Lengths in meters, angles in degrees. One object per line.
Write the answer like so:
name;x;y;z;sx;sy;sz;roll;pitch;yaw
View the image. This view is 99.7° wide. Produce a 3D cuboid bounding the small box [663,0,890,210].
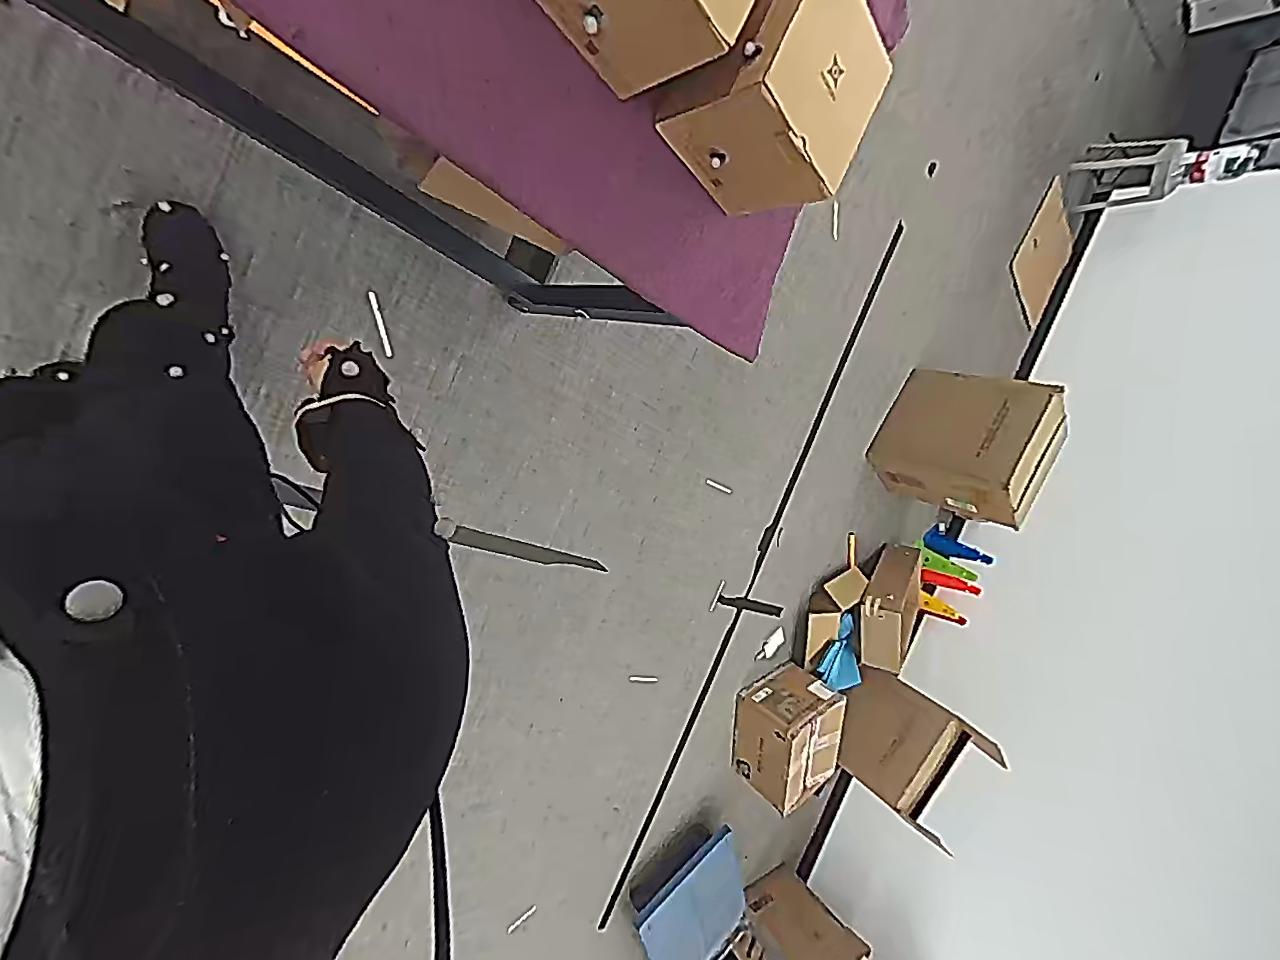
small box;0.156;-0.452;0.637;0.168;0.176;0.179;27;87;-42
